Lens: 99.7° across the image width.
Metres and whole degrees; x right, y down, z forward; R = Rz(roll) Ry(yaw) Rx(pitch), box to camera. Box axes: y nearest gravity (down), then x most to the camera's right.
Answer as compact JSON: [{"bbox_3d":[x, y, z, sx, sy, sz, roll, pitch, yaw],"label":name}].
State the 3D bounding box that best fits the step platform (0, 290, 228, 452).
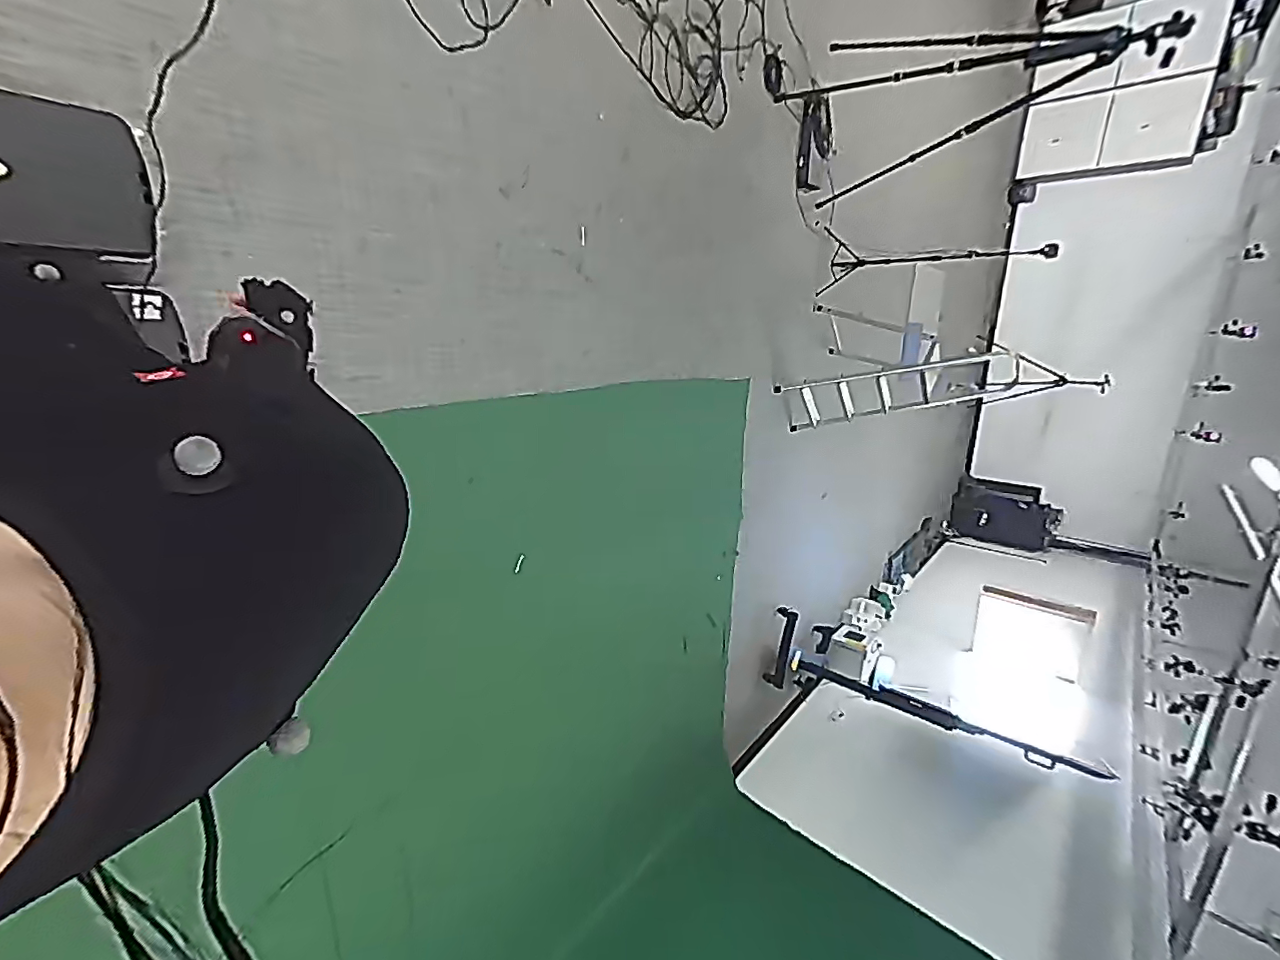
[{"bbox_3d":[-1.115,-0.169,0.874,0.684,0.204,0.286,-17,114,-48],"label":"step platform"}]
